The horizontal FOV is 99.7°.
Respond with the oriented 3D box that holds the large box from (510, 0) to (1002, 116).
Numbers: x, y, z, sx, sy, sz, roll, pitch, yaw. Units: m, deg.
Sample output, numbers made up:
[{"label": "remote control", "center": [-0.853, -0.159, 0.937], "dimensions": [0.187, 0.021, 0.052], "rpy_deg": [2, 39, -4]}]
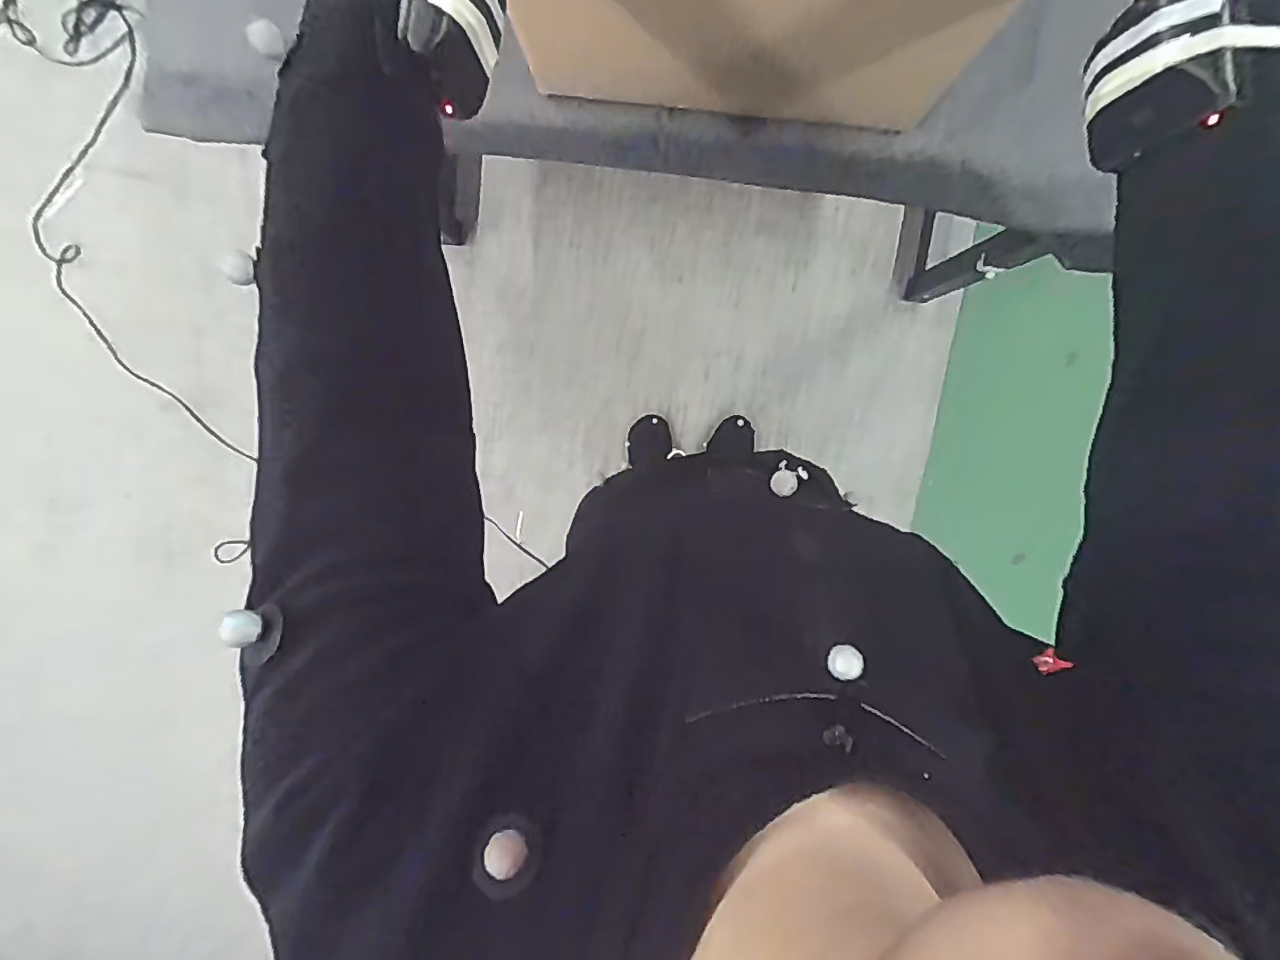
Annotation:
[{"label": "large box", "center": [0.096, -0.533, 0.412], "dimensions": [0.408, 0.320, 0.320], "rpy_deg": [6, 98, 1]}]
